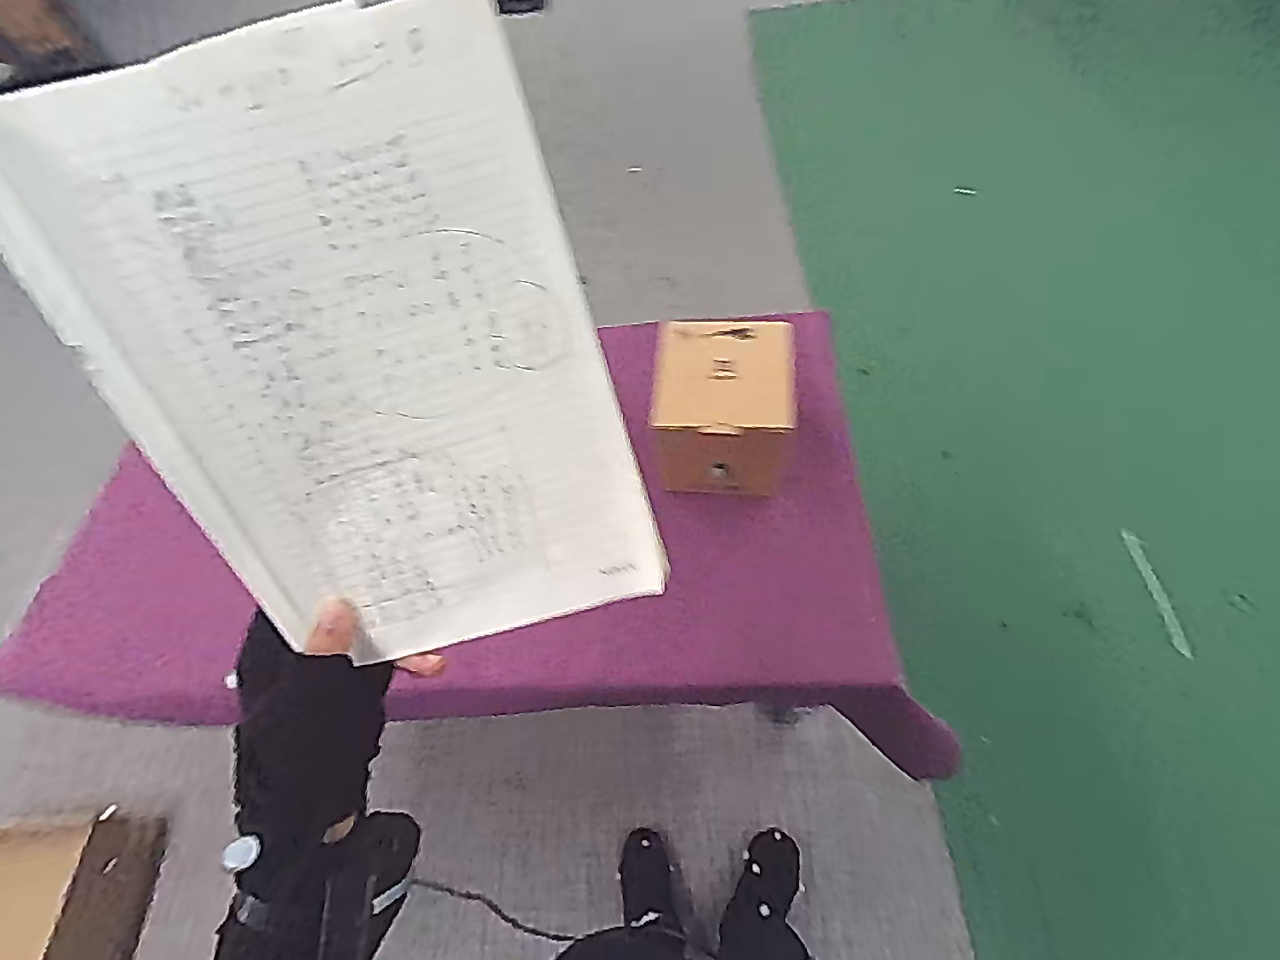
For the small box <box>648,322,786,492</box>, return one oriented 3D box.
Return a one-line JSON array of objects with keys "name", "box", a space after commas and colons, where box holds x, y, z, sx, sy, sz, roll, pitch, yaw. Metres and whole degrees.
[{"name": "small box", "box": [0.109, -0.096, 0.748, 0.168, 0.176, 0.179, 3, 62, 8]}]
